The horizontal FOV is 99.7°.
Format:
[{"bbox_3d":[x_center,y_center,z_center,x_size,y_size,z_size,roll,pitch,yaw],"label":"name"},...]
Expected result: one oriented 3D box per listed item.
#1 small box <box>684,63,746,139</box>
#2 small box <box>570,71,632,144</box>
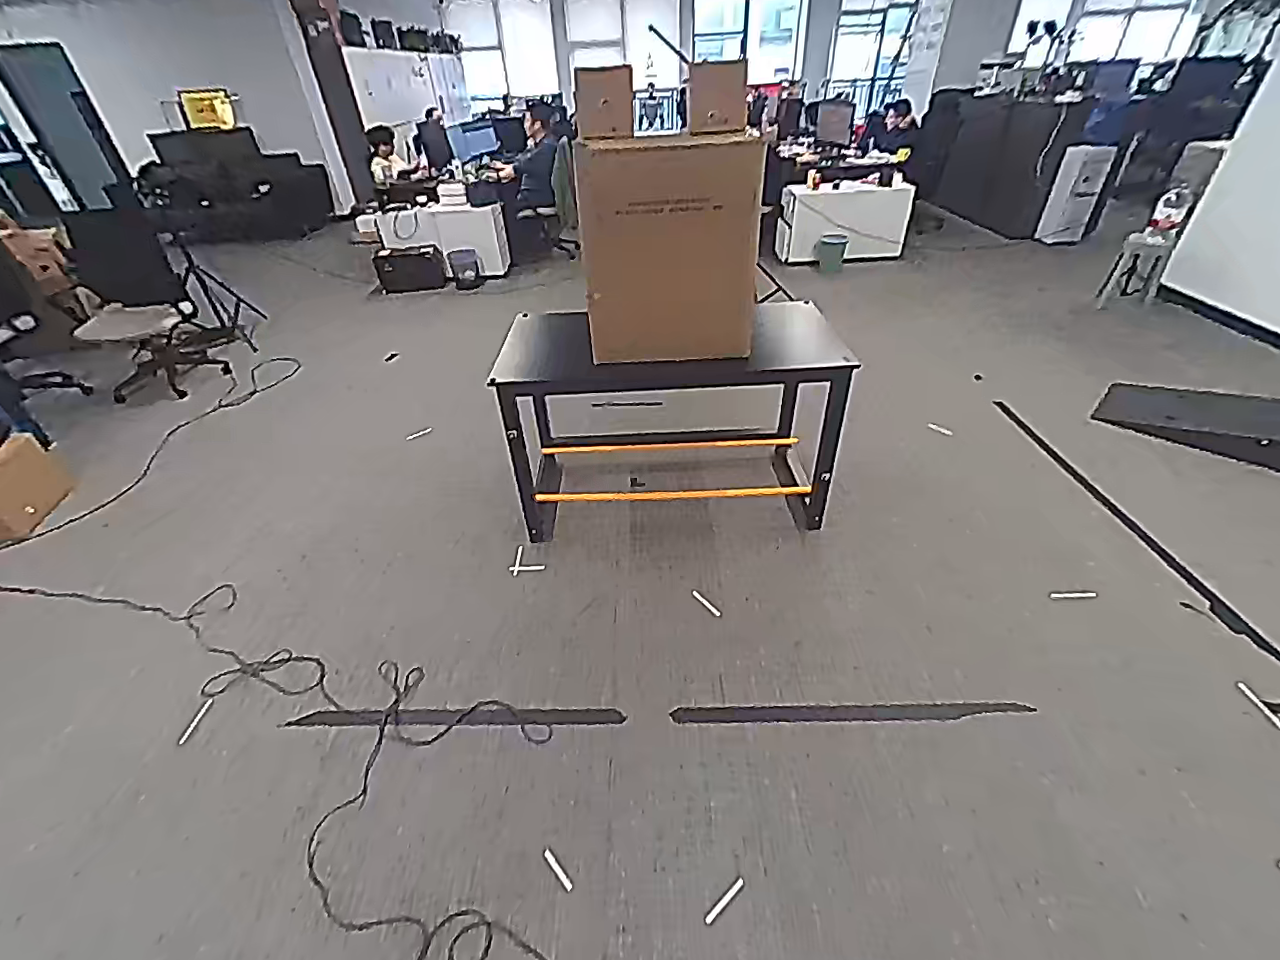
[{"bbox_3d":[0.214,-1.103,1.577,0.168,0.176,0.179,-4,36,4],"label":"small box"},{"bbox_3d":[-0.113,-1.092,1.590,0.168,0.176,0.179,-5,37,-3],"label":"small box"}]
